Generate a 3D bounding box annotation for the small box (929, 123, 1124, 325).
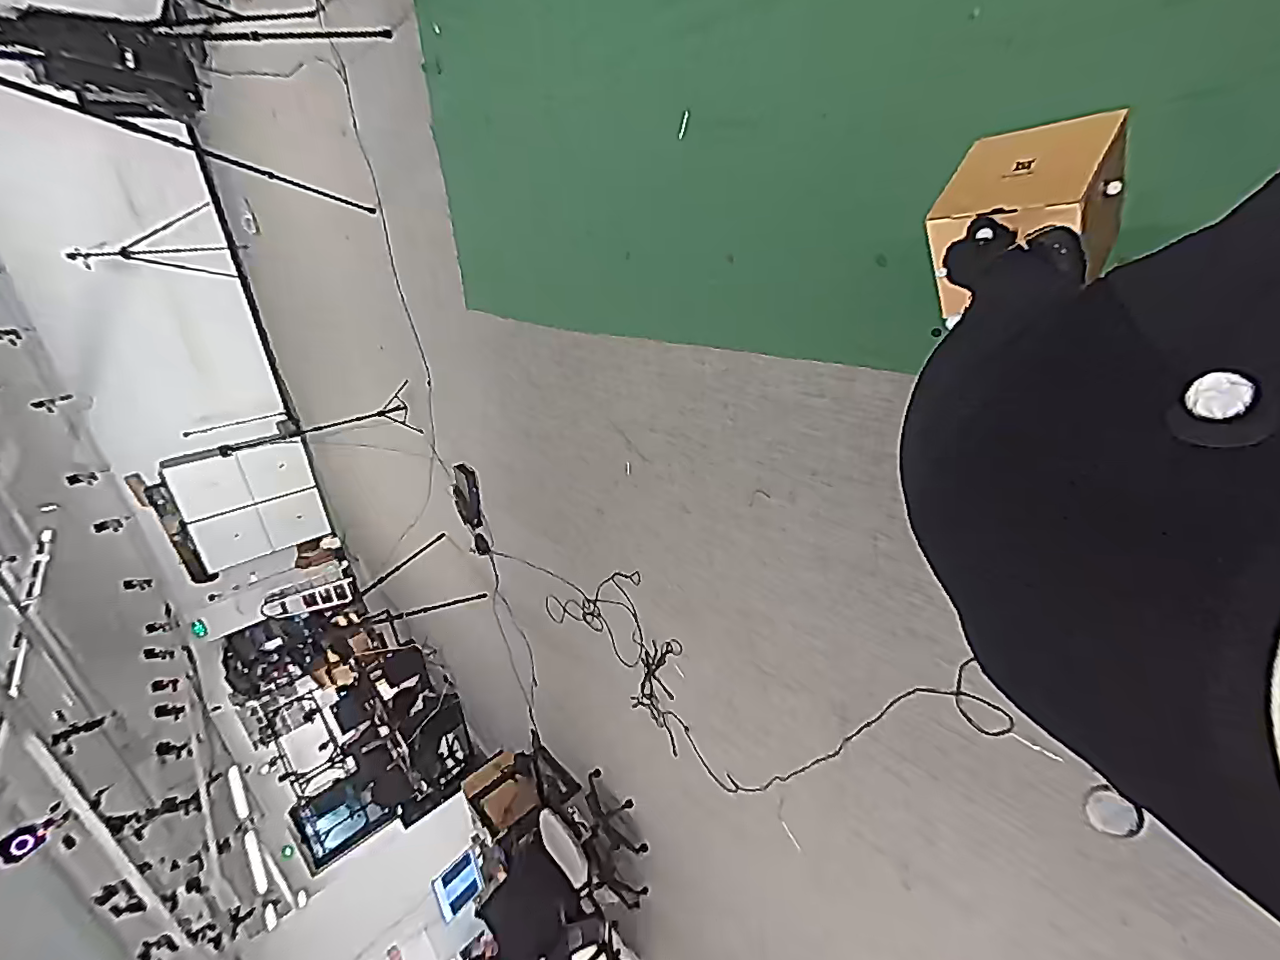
[{"bbox_3d":[0.523,-0.336,0.737,0.168,0.179,0.176,17,156,46],"label":"small box"}]
